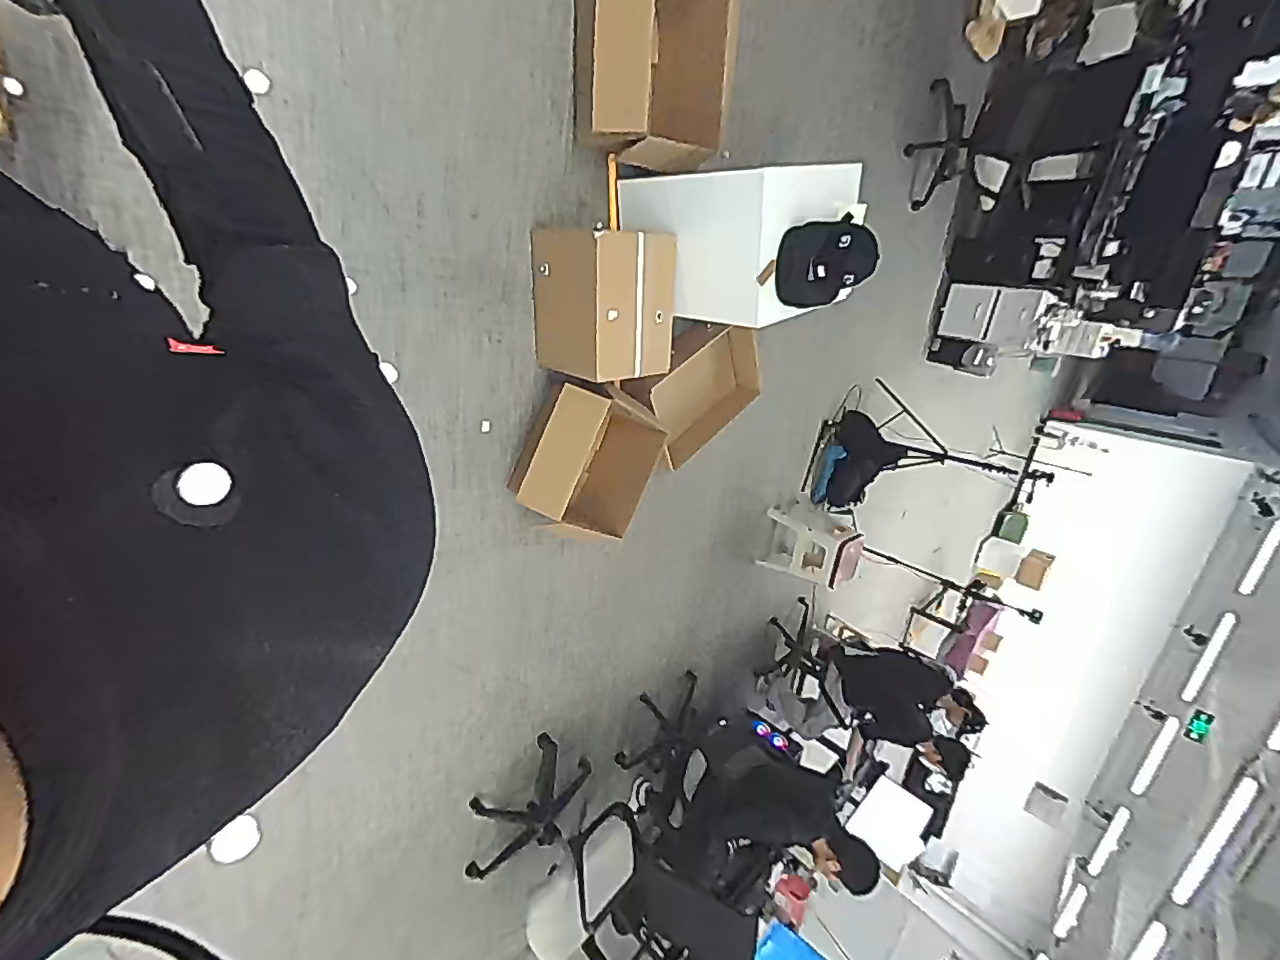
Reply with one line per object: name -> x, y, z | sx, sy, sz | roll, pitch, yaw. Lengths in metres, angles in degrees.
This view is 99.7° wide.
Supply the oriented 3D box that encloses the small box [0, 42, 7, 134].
small box -> -1.040, -0.611, 0.762 | 0.179, 0.176, 0.168 | -4, 111, -46
